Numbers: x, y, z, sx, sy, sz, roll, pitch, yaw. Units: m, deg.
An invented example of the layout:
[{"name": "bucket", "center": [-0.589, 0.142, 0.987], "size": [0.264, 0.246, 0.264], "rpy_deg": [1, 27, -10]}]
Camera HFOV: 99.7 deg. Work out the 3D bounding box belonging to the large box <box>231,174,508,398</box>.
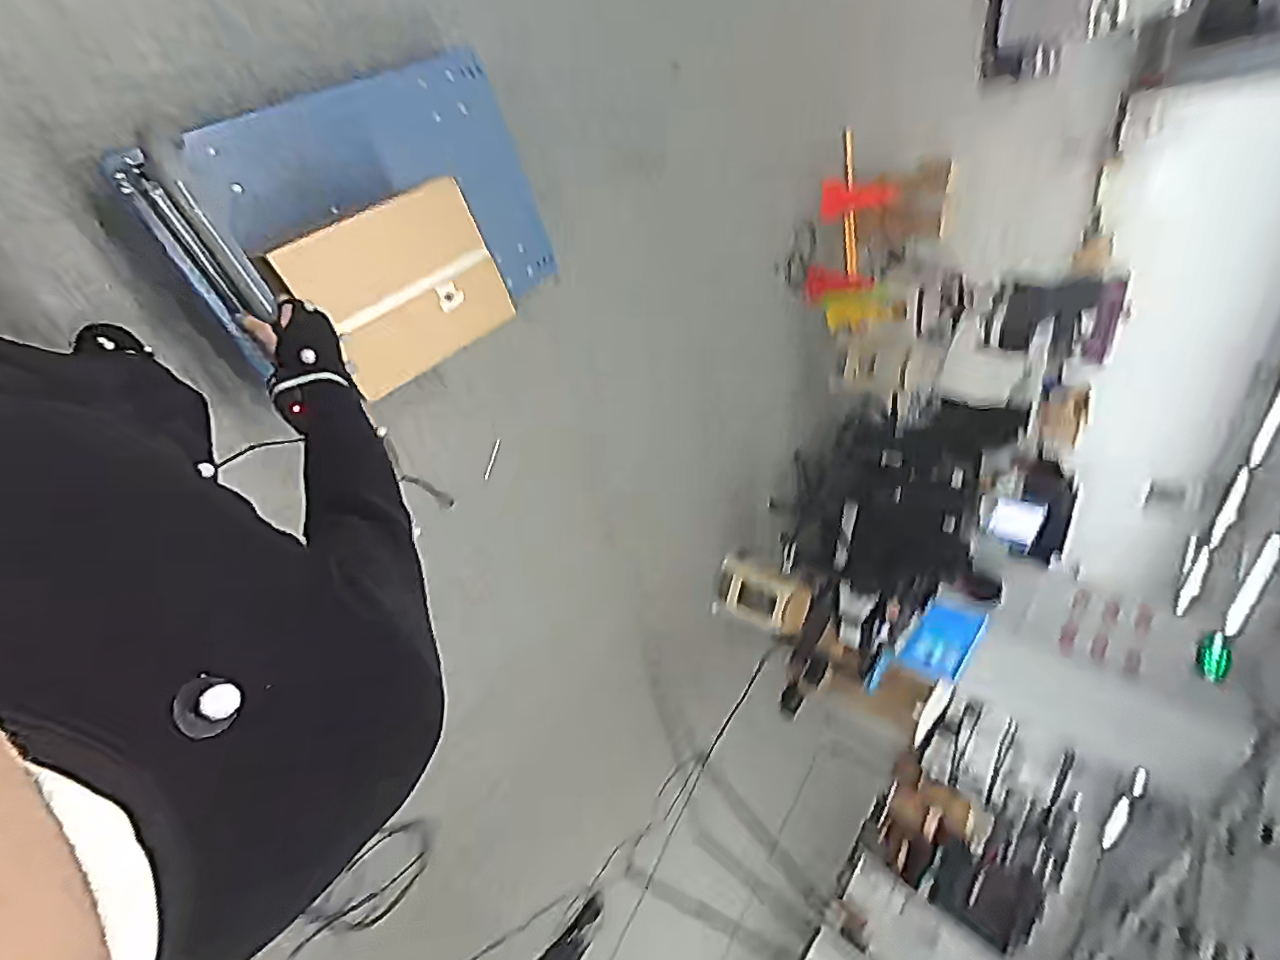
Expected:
[{"name": "large box", "center": [-0.592, -0.436, 1.219], "size": [0.408, 0.320, 0.320], "rpy_deg": [-44, 133, -28]}]
